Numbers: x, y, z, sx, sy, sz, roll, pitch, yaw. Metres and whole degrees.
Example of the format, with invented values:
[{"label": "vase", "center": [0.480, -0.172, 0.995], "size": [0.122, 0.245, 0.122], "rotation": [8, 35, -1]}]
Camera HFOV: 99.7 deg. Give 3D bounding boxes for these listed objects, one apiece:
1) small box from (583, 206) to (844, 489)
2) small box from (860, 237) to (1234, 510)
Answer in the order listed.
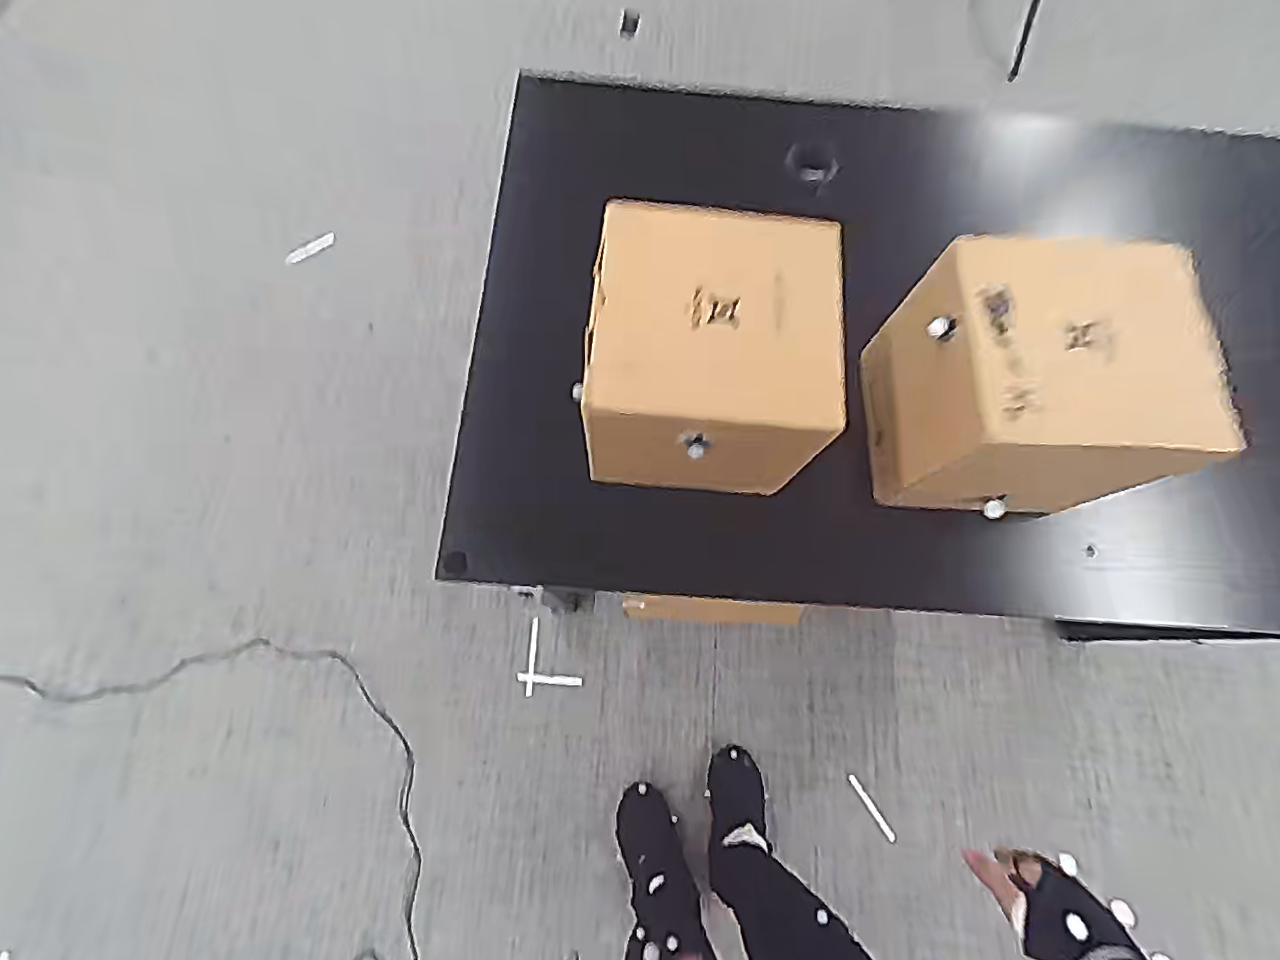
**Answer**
[{"label": "small box", "center": [0.051, -0.095, 0.454], "size": [0.179, 0.176, 0.168], "rotation": [5, 74, -2]}, {"label": "small box", "center": [0.313, -0.075, 0.459], "size": [0.179, 0.176, 0.168], "rotation": [3, 72, -2]}]
